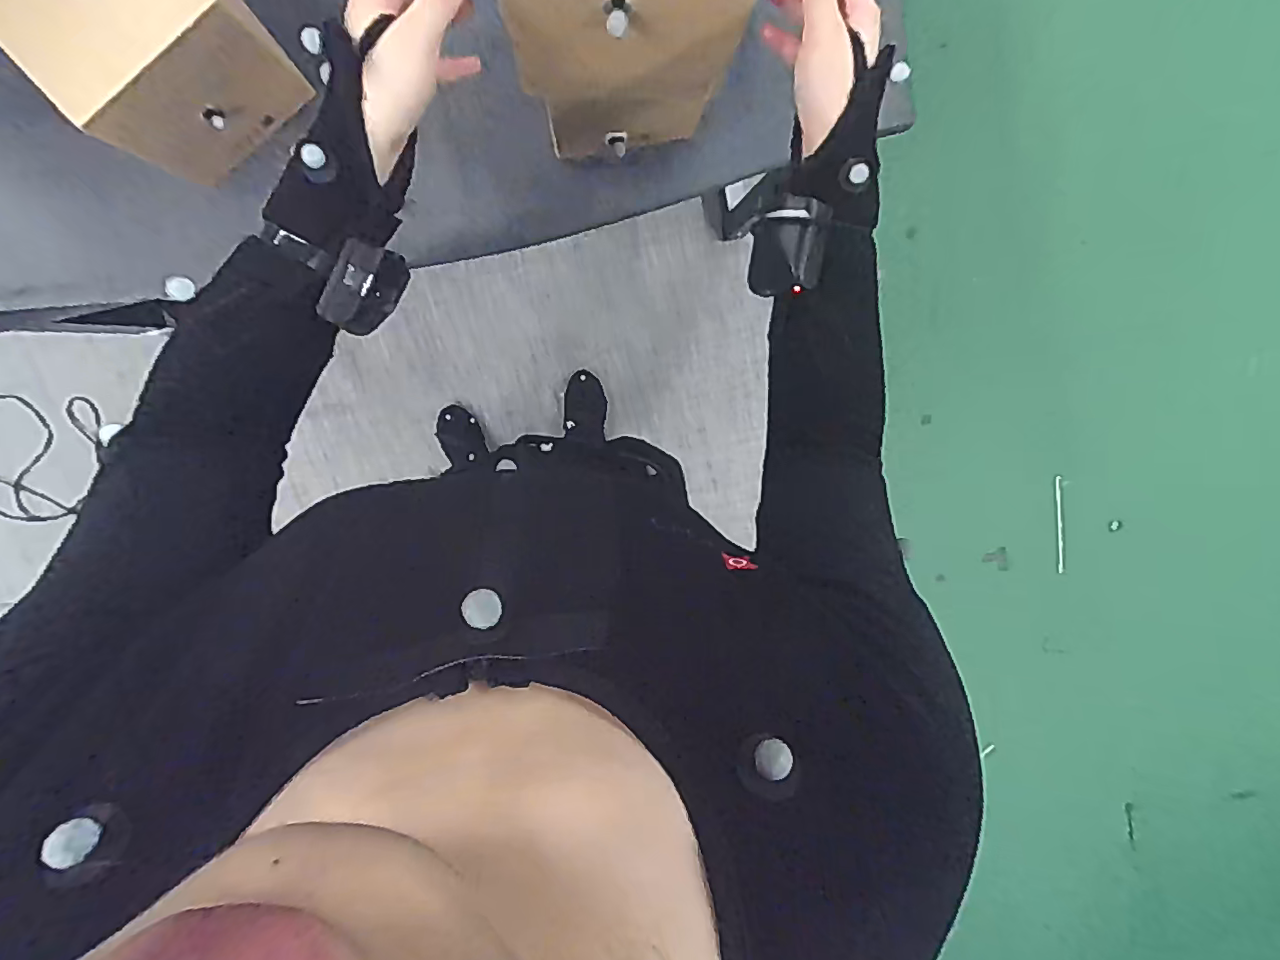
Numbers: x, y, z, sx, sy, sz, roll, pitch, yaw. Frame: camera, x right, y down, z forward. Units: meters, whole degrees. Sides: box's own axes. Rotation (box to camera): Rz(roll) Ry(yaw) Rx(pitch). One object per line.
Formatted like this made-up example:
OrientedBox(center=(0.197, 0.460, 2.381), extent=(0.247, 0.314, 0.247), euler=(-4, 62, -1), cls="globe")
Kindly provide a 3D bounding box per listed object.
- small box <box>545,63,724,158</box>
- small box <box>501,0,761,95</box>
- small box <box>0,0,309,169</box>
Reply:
OrientedBox(center=(-0.024, -0.458, 0.543), extent=(0.168, 0.176, 0.179), euler=(-12, 104, -1), cls="small box")
OrientedBox(center=(-0.010, -0.407, 0.389), extent=(0.179, 0.176, 0.168), euler=(-1, 103, -3), cls="small box")
OrientedBox(center=(-0.468, -0.431, 0.513), extent=(0.168, 0.176, 0.179), euler=(-38, 103, 4), cls="small box")
